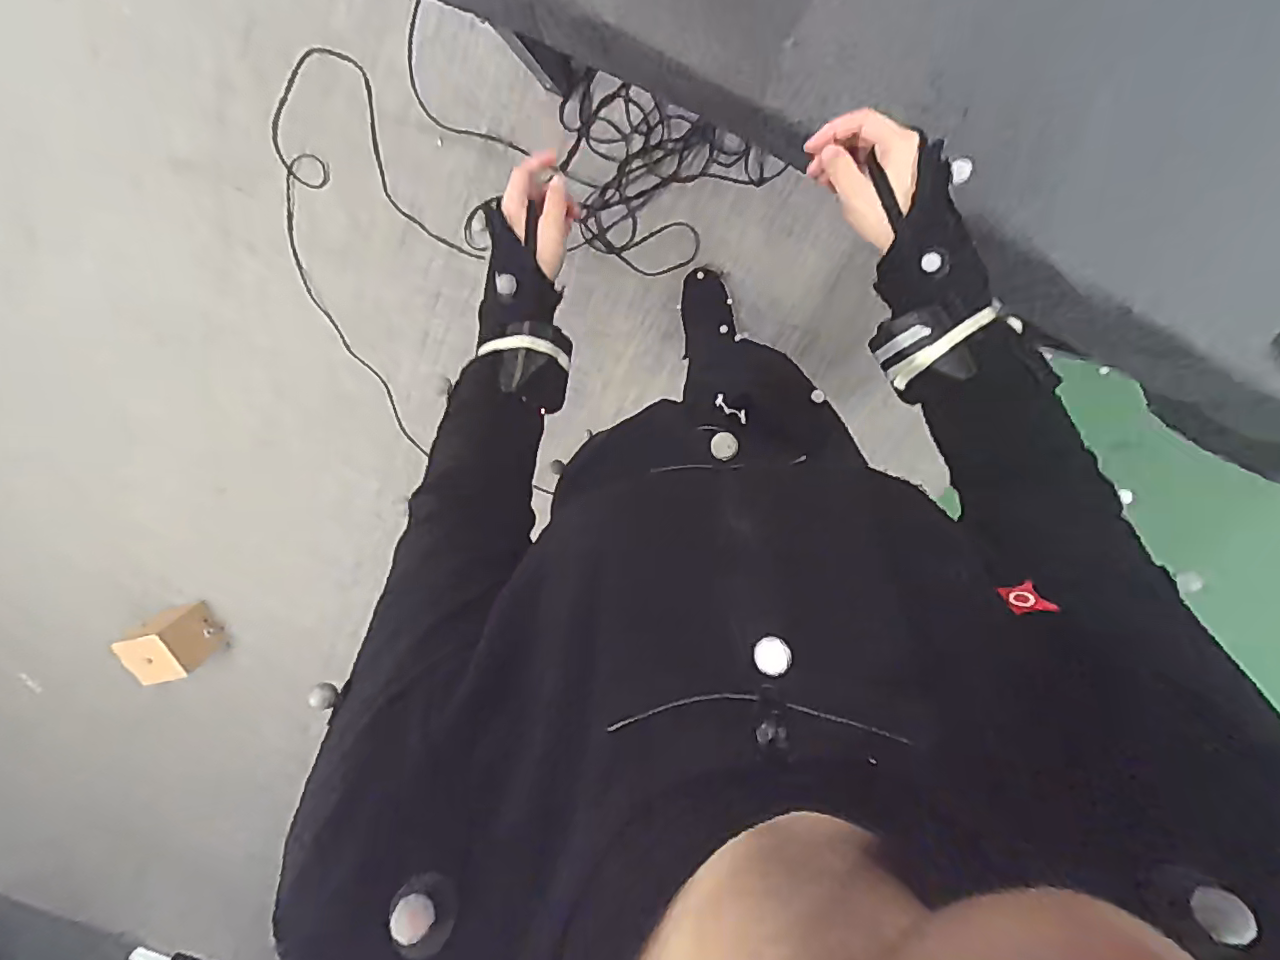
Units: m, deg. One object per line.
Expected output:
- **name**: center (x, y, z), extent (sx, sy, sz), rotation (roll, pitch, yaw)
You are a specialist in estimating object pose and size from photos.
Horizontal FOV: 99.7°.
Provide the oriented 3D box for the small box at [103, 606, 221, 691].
- **small box**: center (-1.455, 0.513, 1.659), extent (0.179, 0.176, 0.168), rotation (-15, 111, 10)
